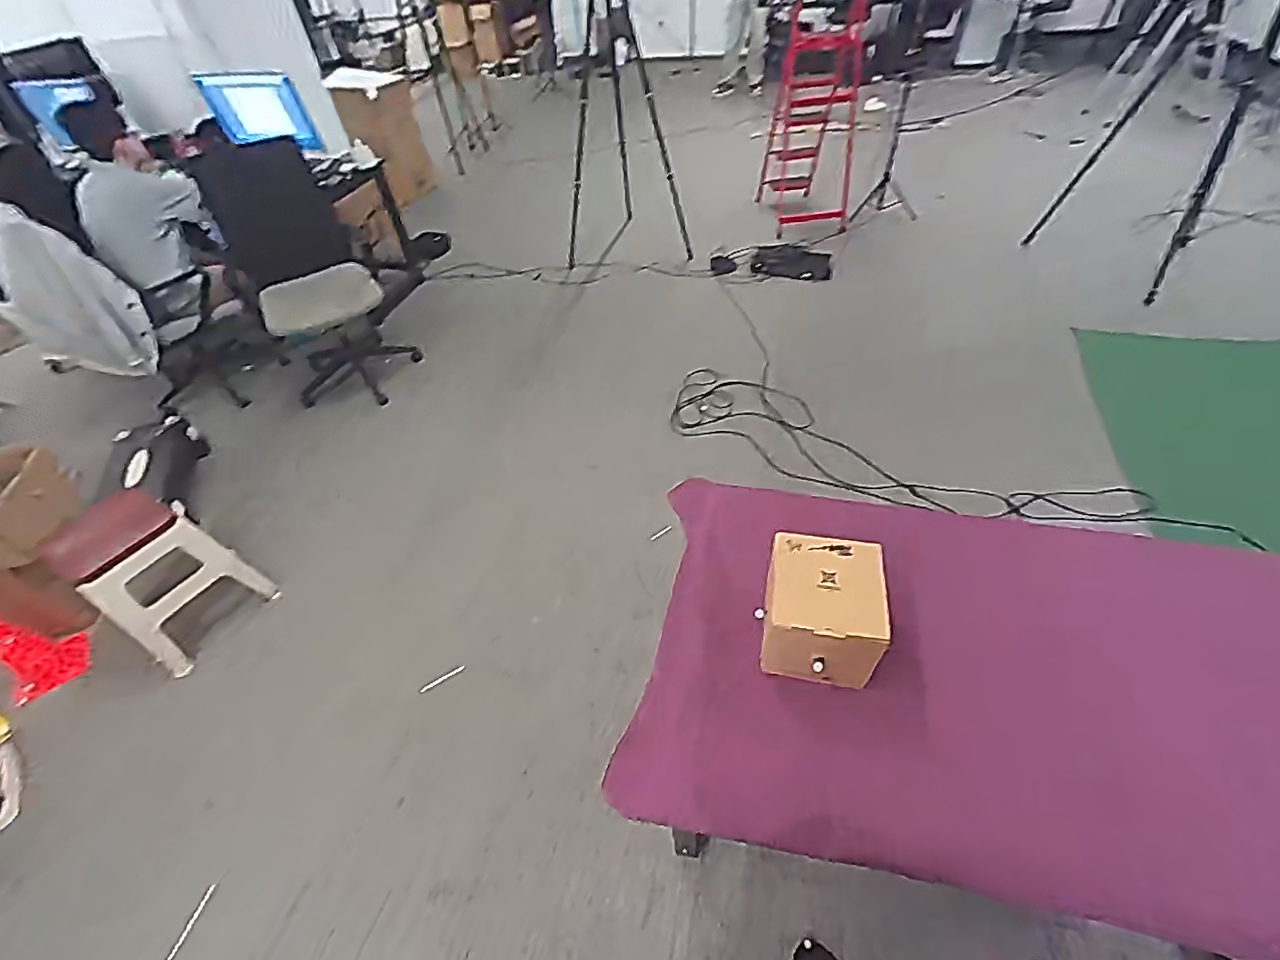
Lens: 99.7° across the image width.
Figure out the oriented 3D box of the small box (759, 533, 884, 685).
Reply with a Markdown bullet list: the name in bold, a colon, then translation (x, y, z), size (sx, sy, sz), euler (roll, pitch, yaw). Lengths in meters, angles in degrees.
- **small box**: translation (0.289, 0.213, 0.884), size (0.168, 0.176, 0.179), euler (6, 49, 11)
